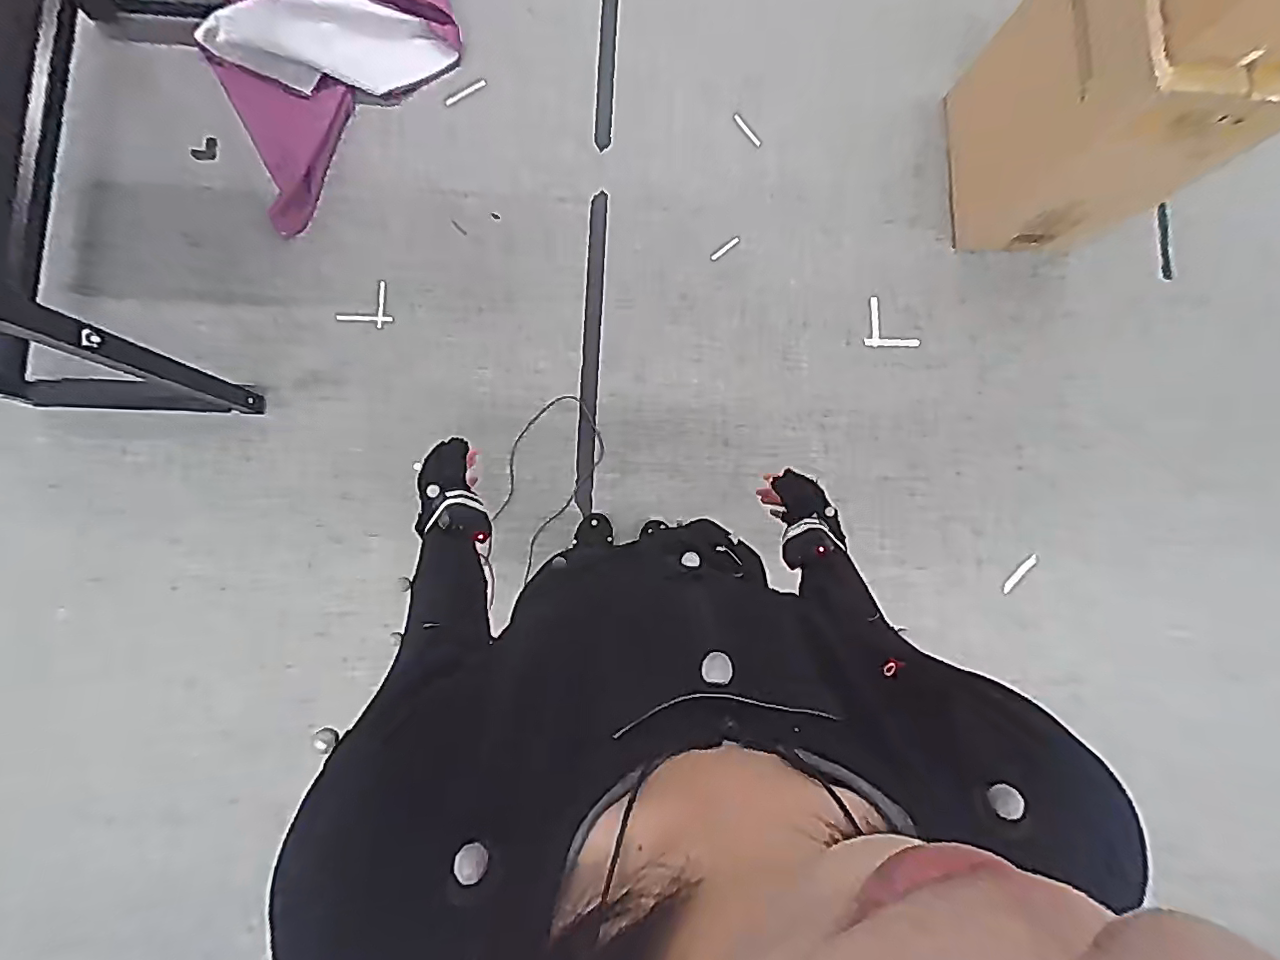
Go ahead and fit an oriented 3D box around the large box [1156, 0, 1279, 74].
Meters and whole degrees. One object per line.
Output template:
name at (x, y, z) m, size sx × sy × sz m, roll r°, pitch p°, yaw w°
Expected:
large box at (1.223, -1.053, 0.985) m, size 0.320 × 0.320 × 0.408 m, roll -1°, pitch 85°, yaw -4°
